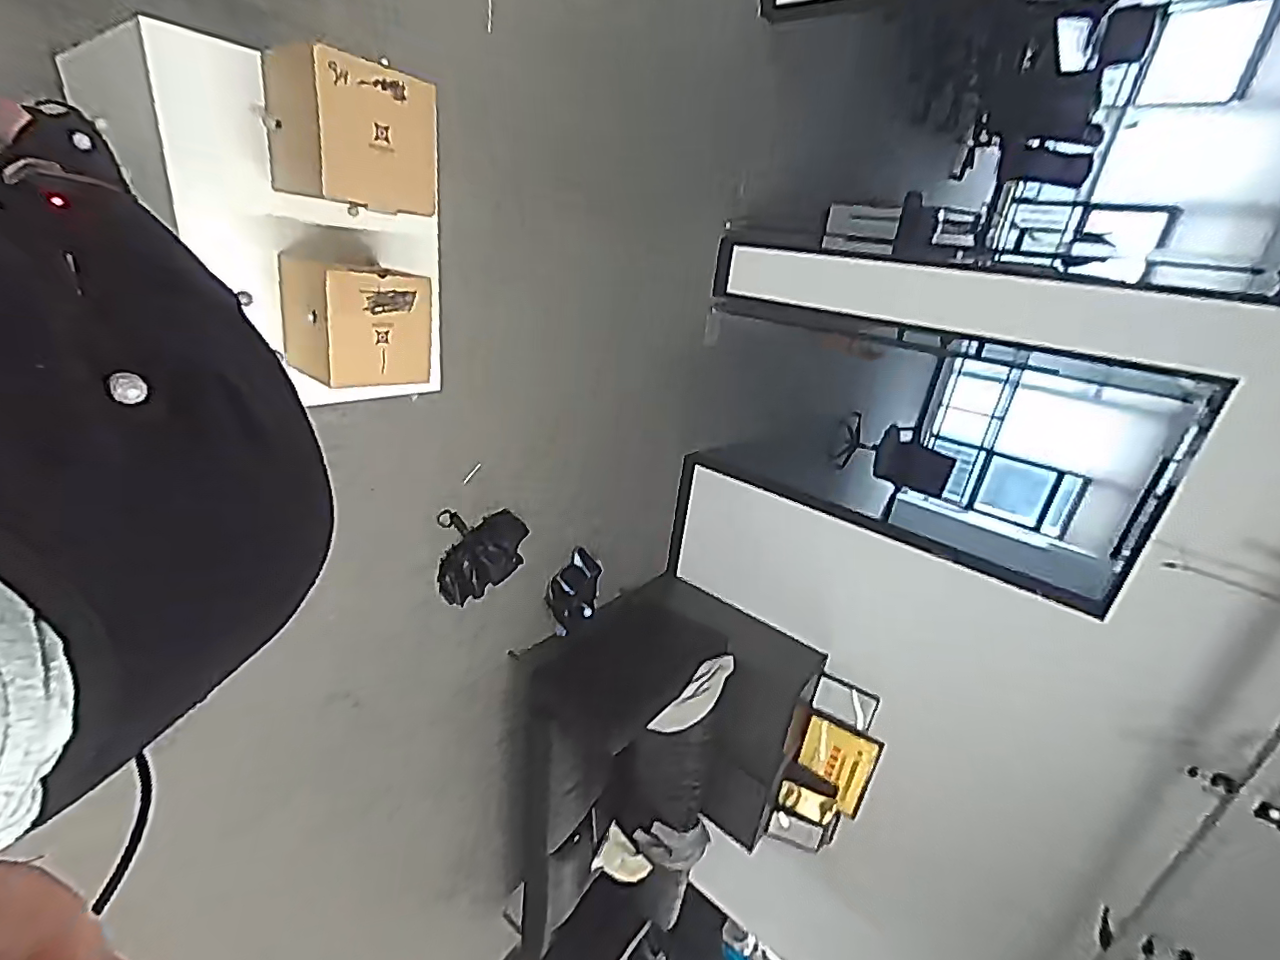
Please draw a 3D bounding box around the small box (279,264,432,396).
[{"bbox_3d":[-0.459,-0.244,0.875,0.168,0.176,0.179,-17,123,-49],"label":"small box"}]

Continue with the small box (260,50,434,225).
[{"bbox_3d":[-0.420,-0.484,0.782,0.168,0.176,0.179,-20,127,-49],"label":"small box"}]
